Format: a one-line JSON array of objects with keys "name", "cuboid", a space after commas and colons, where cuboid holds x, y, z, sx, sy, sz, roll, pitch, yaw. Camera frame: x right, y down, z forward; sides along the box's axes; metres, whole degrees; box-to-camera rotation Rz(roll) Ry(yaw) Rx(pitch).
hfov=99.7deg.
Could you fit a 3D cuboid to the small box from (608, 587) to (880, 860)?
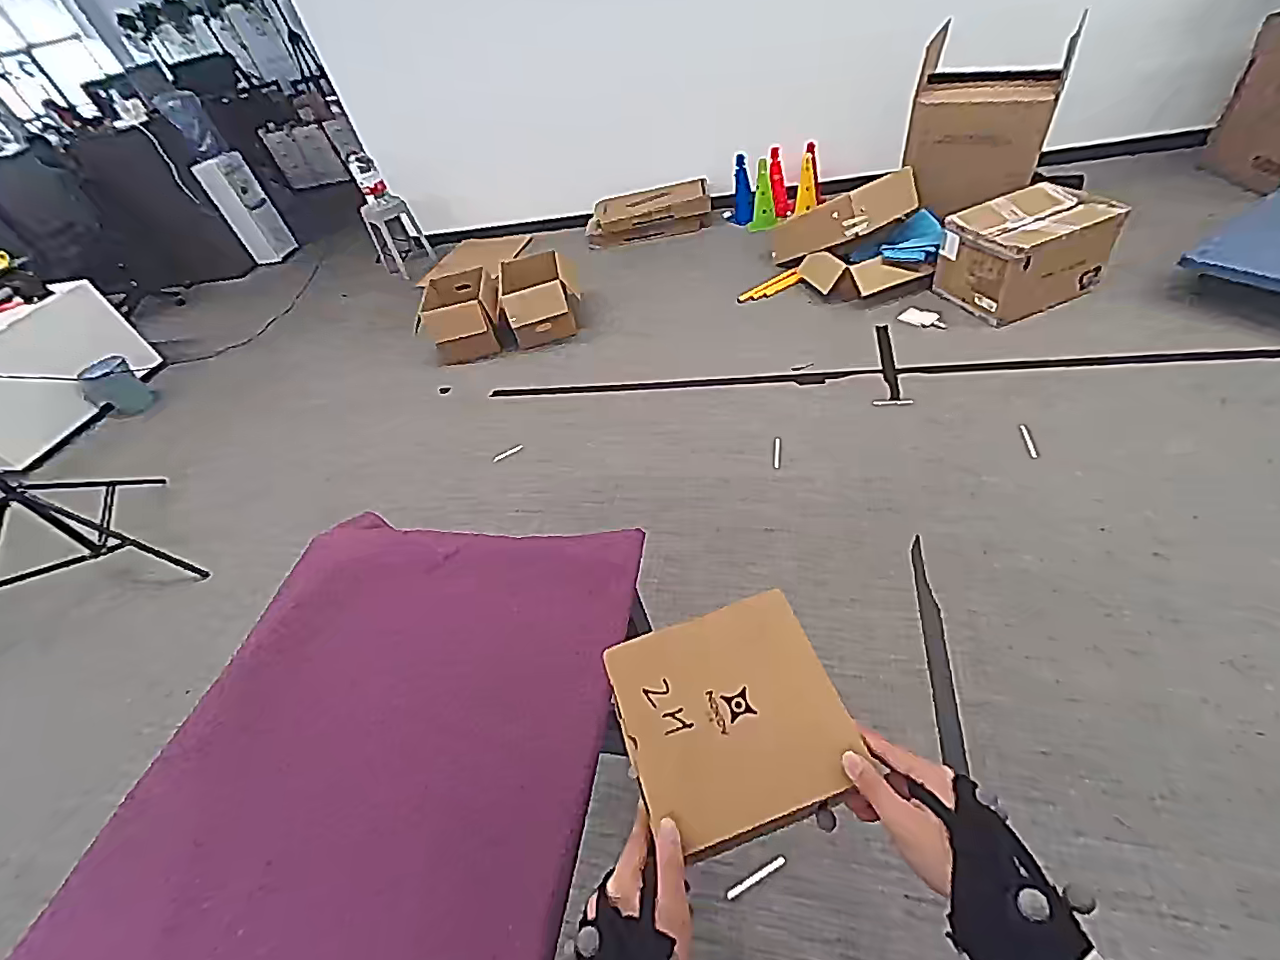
[{"name": "small box", "cuboid": [0.085, 0.230, 0.504, 0.179, 0.176, 0.168, -19, 52, -5]}]
